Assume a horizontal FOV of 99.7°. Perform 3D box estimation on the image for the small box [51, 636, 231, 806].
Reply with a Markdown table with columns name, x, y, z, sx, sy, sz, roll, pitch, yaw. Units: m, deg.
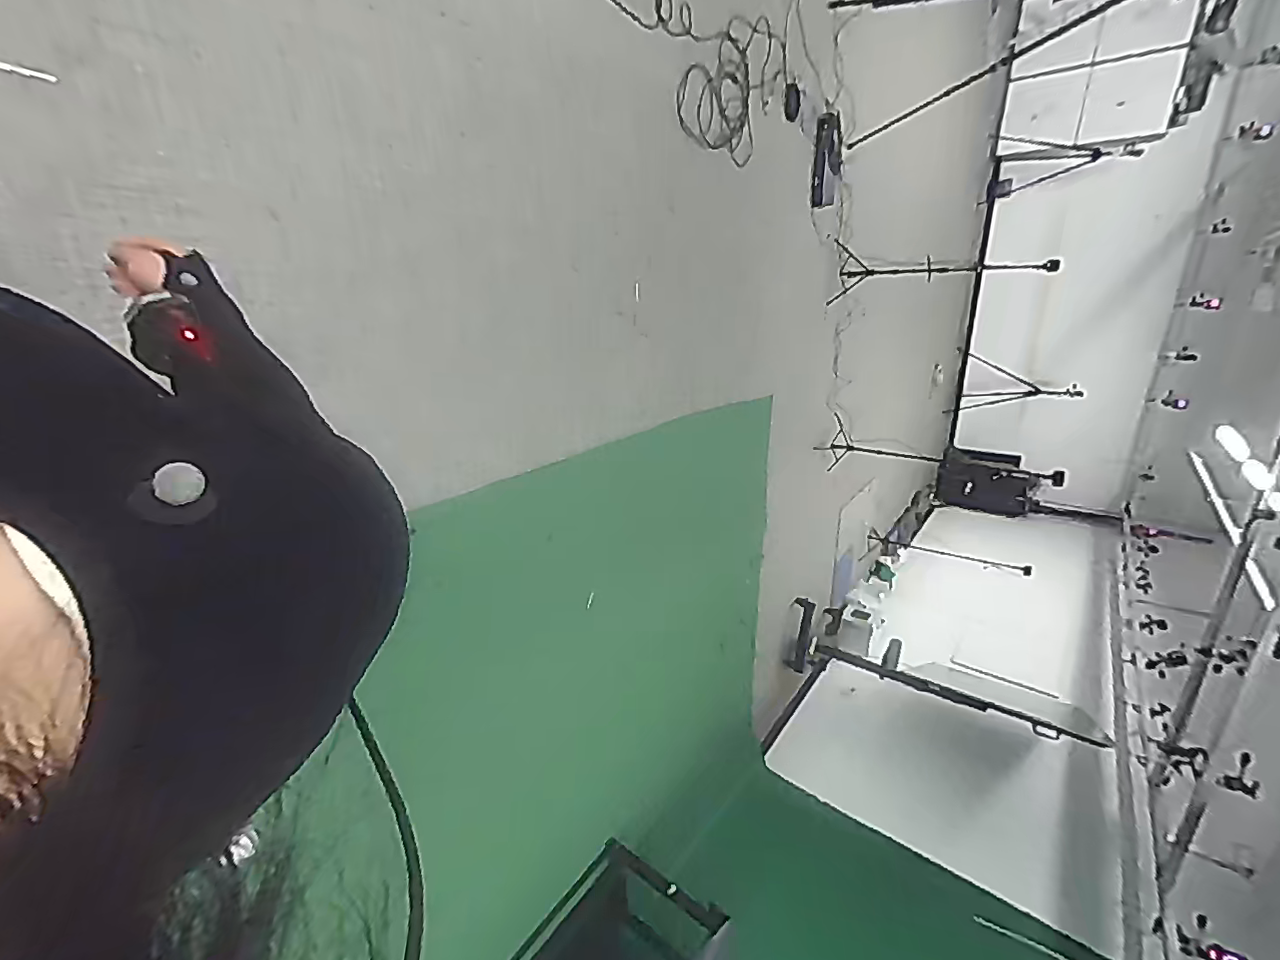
| name | x | y | z | sx | sy | sz | roll | pitch | yaw |
| --- | --- | --- | --- | --- | --- | --- | --- | --- | --- |
| small box | -0.779 | 0.355 | 0.843 | 0.168 | 0.176 | 0.179 | 12 | 91 | -53 |
